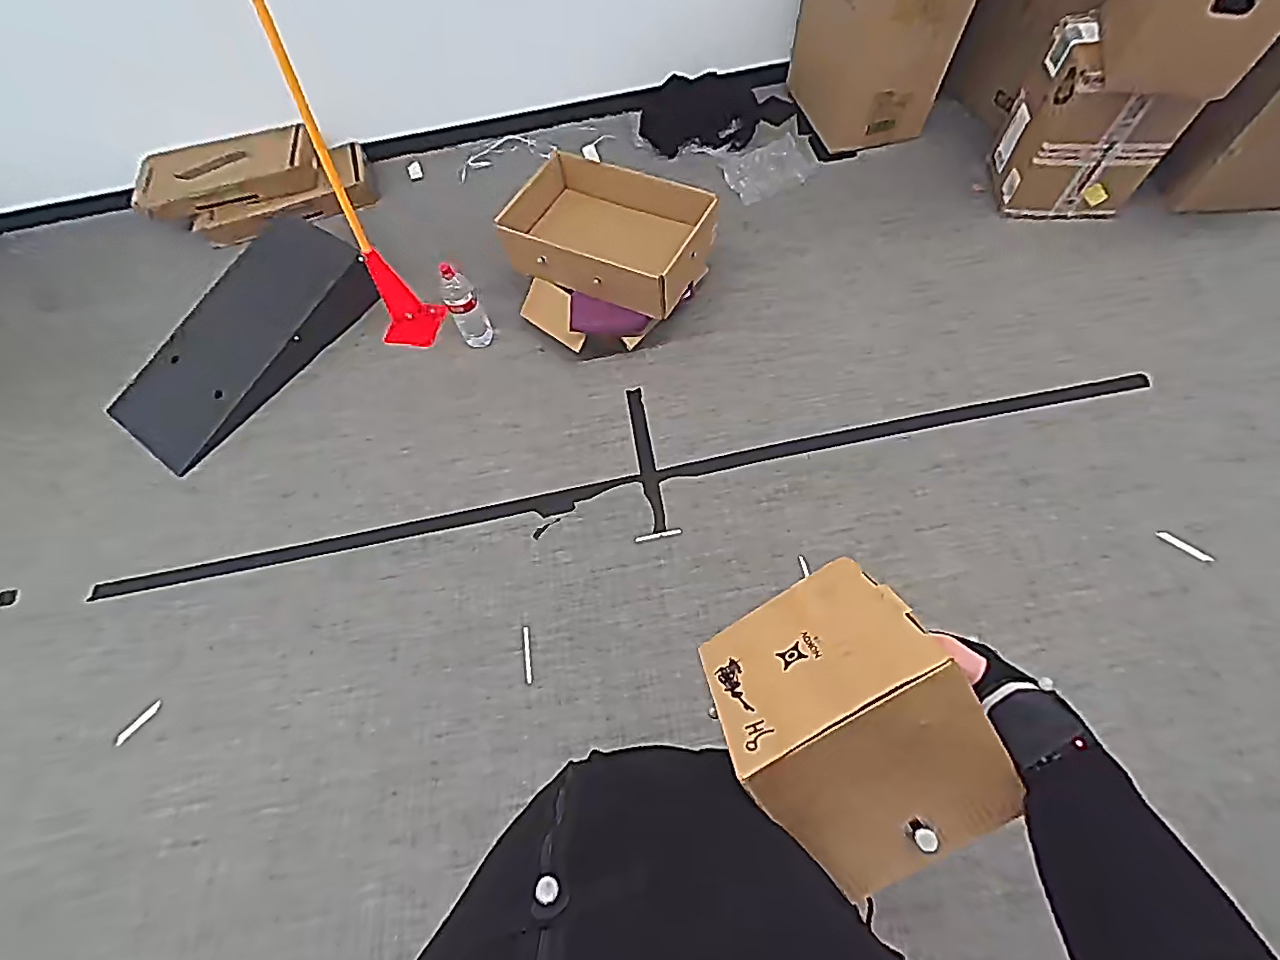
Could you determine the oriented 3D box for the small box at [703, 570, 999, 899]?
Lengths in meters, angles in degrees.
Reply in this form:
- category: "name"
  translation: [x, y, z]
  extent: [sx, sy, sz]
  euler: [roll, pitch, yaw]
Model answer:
- category: "small box"
  translation: [0.186, 0.221, 0.493]
  extent: [0.179, 0.168, 0.176]
  euler: [-33, 106, 5]
